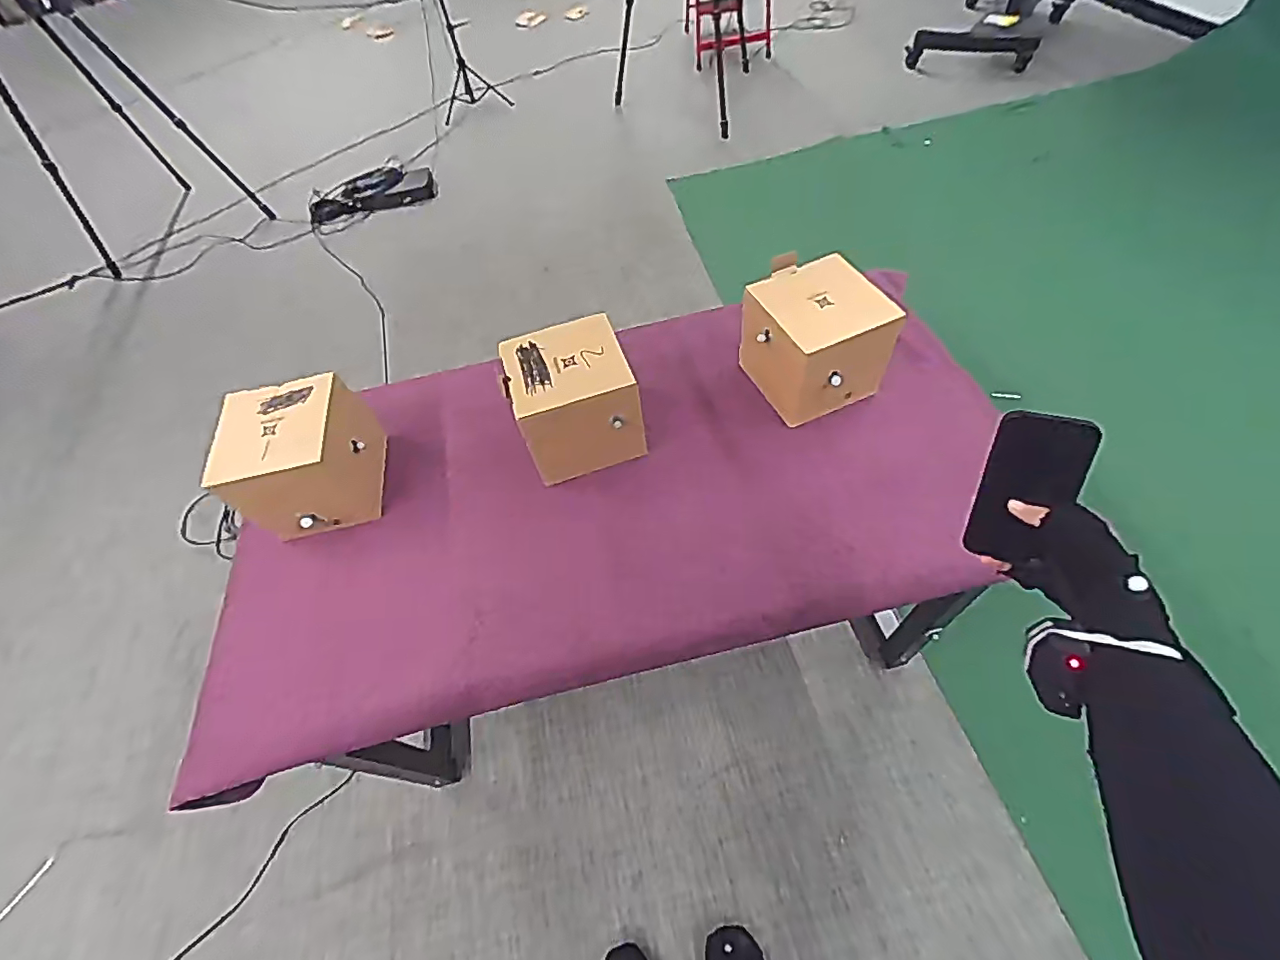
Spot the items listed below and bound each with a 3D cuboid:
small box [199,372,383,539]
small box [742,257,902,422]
[{"bbox_3d":[-0.517,-0.034,0.834,0.168,0.176,0.179,-12,57,-2],"label":"small box"},{"bbox_3d":[0.276,-0.215,0.865,0.168,0.176,0.179,-22,56,-8],"label":"small box"}]
